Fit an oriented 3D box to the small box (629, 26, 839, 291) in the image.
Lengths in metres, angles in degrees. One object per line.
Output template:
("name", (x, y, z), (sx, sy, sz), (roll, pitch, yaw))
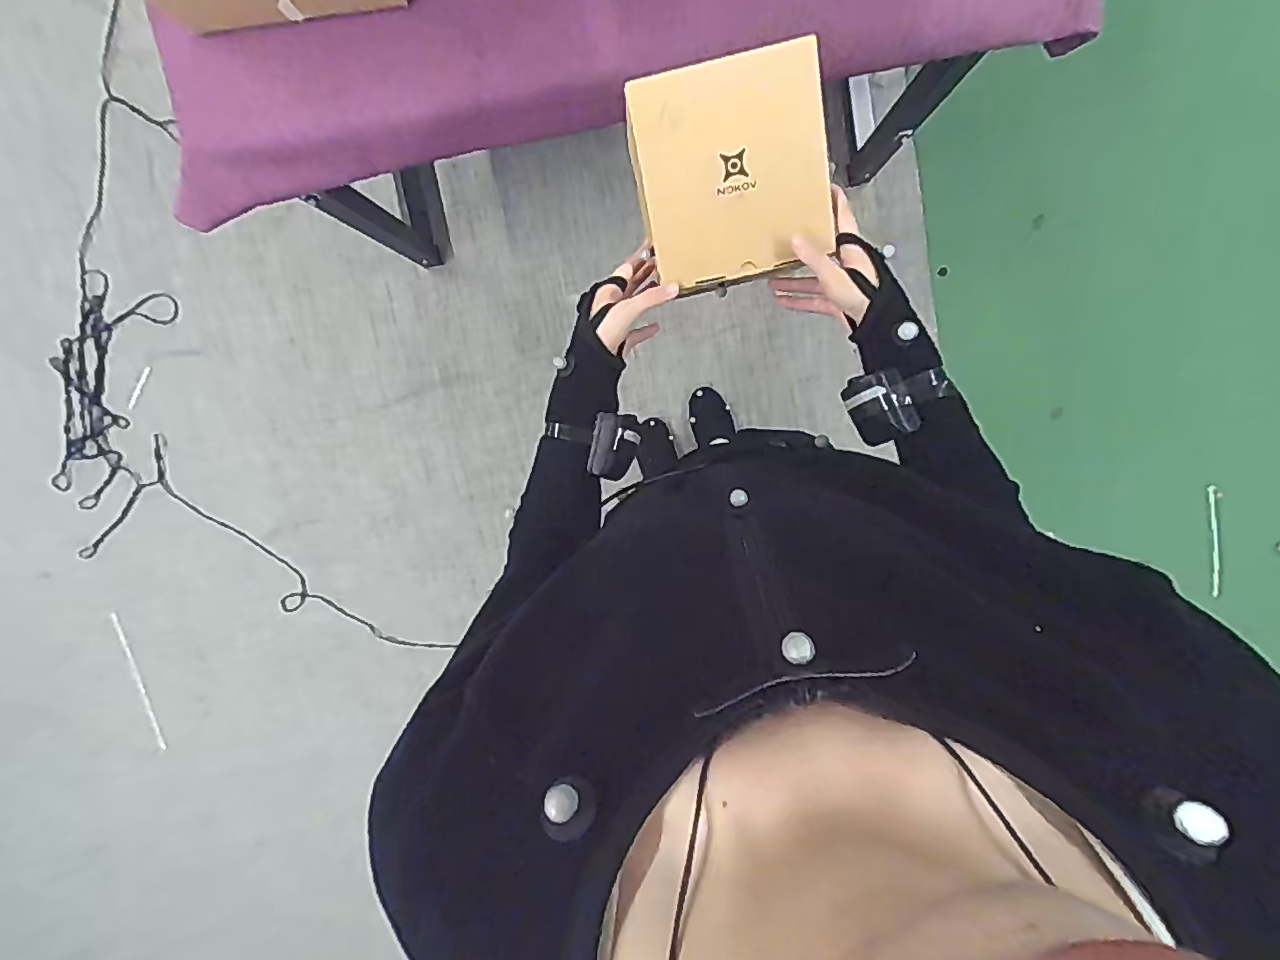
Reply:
("small box", (0.085, -0.301, 0.549), (0.168, 0.176, 0.179), (-12, 107, 4))
